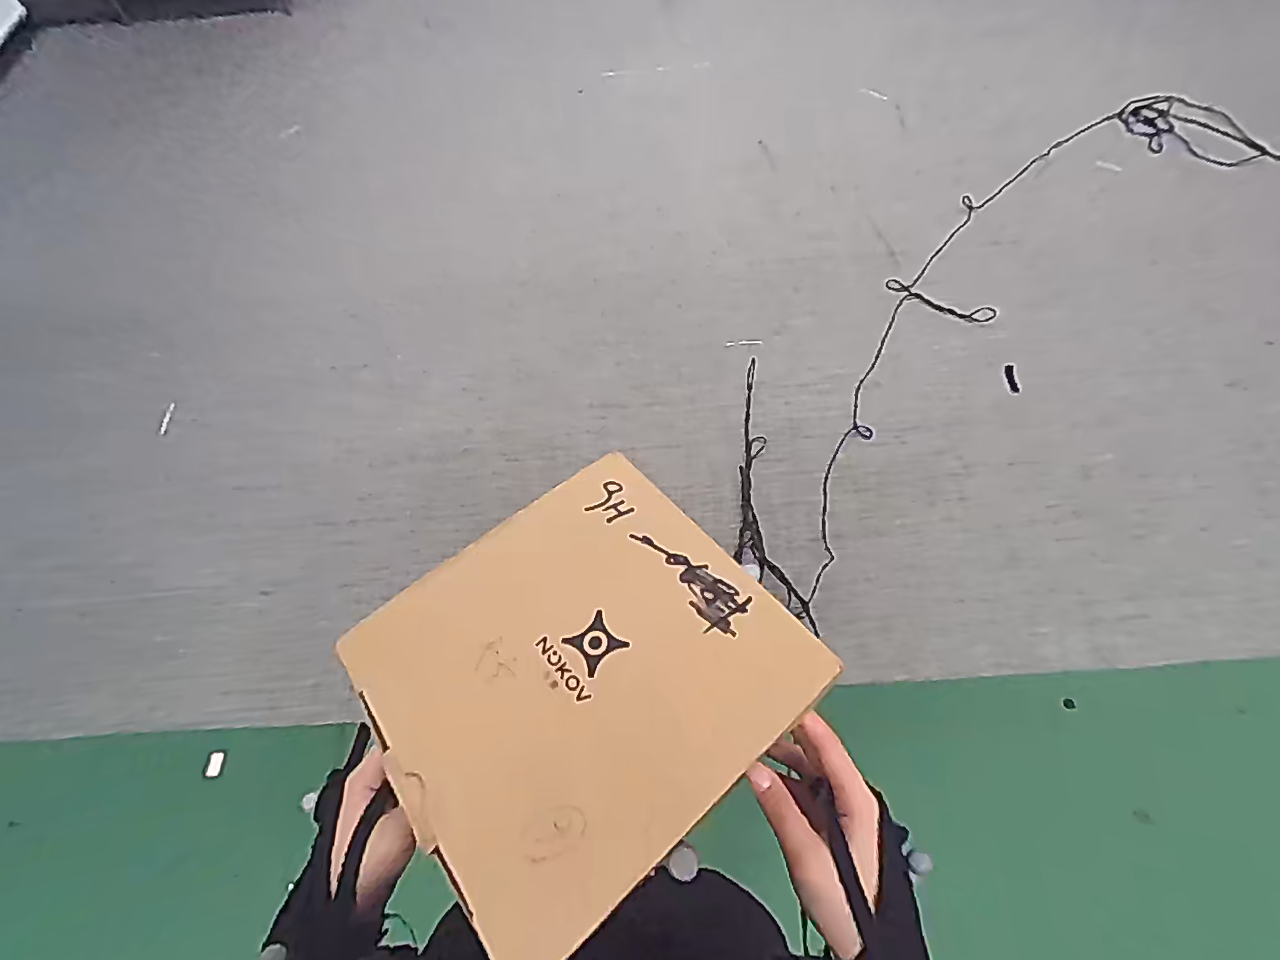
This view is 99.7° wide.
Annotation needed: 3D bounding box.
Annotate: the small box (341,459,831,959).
[{"bbox_3d":[-0.024,0.129,0.314,0.179,0.176,0.168,-35,60,-19],"label":"small box"}]
